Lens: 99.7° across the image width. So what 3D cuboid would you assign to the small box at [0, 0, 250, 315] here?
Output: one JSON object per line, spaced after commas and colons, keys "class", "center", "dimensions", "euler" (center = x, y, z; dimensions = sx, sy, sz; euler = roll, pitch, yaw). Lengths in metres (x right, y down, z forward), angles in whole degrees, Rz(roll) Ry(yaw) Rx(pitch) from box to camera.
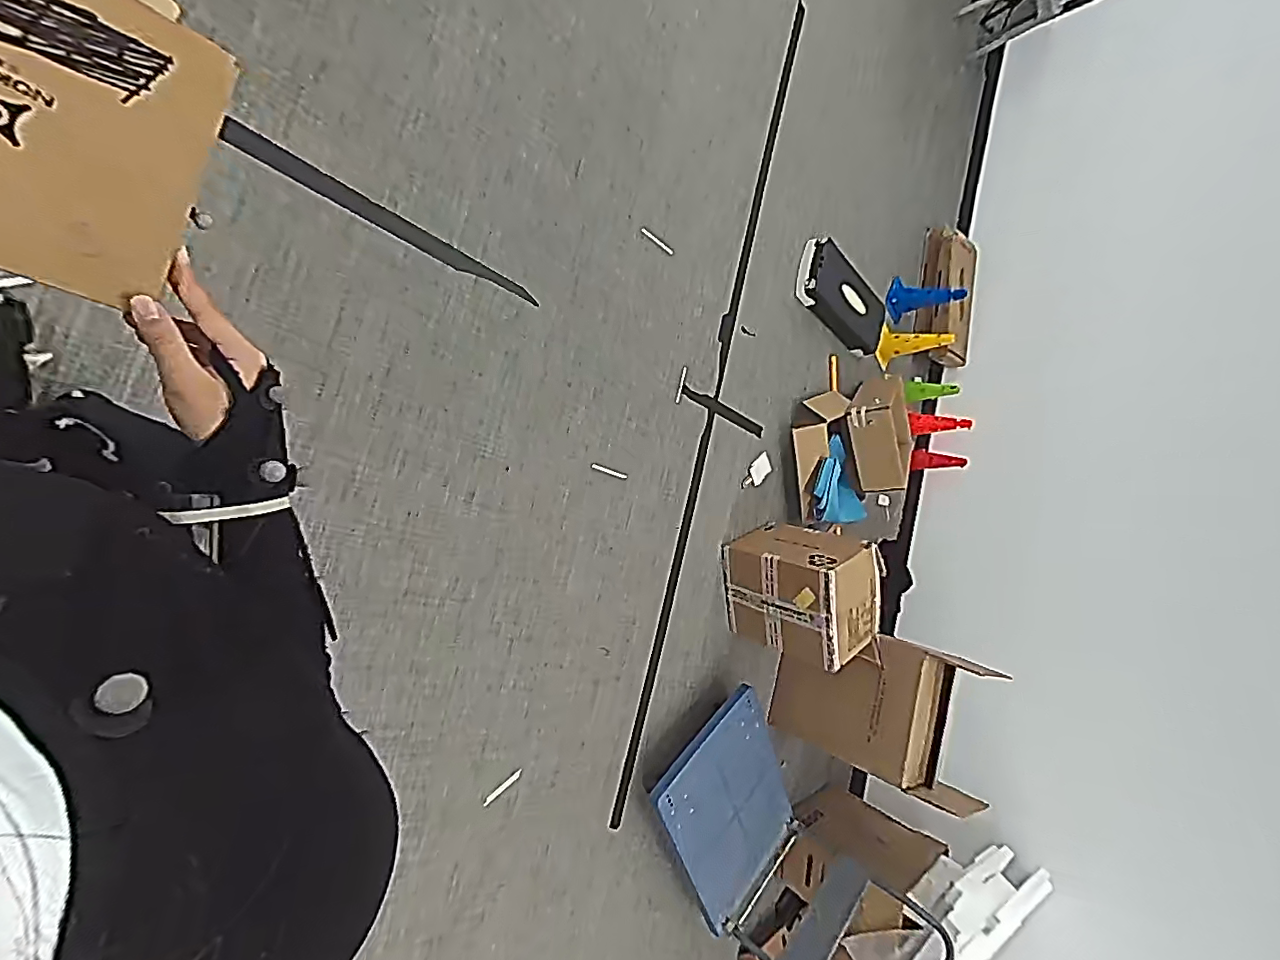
{"class": "small box", "center": [-0.385, -0.227, 0.345], "dimensions": [0.168, 0.176, 0.179], "euler": [20, 92, -45]}
